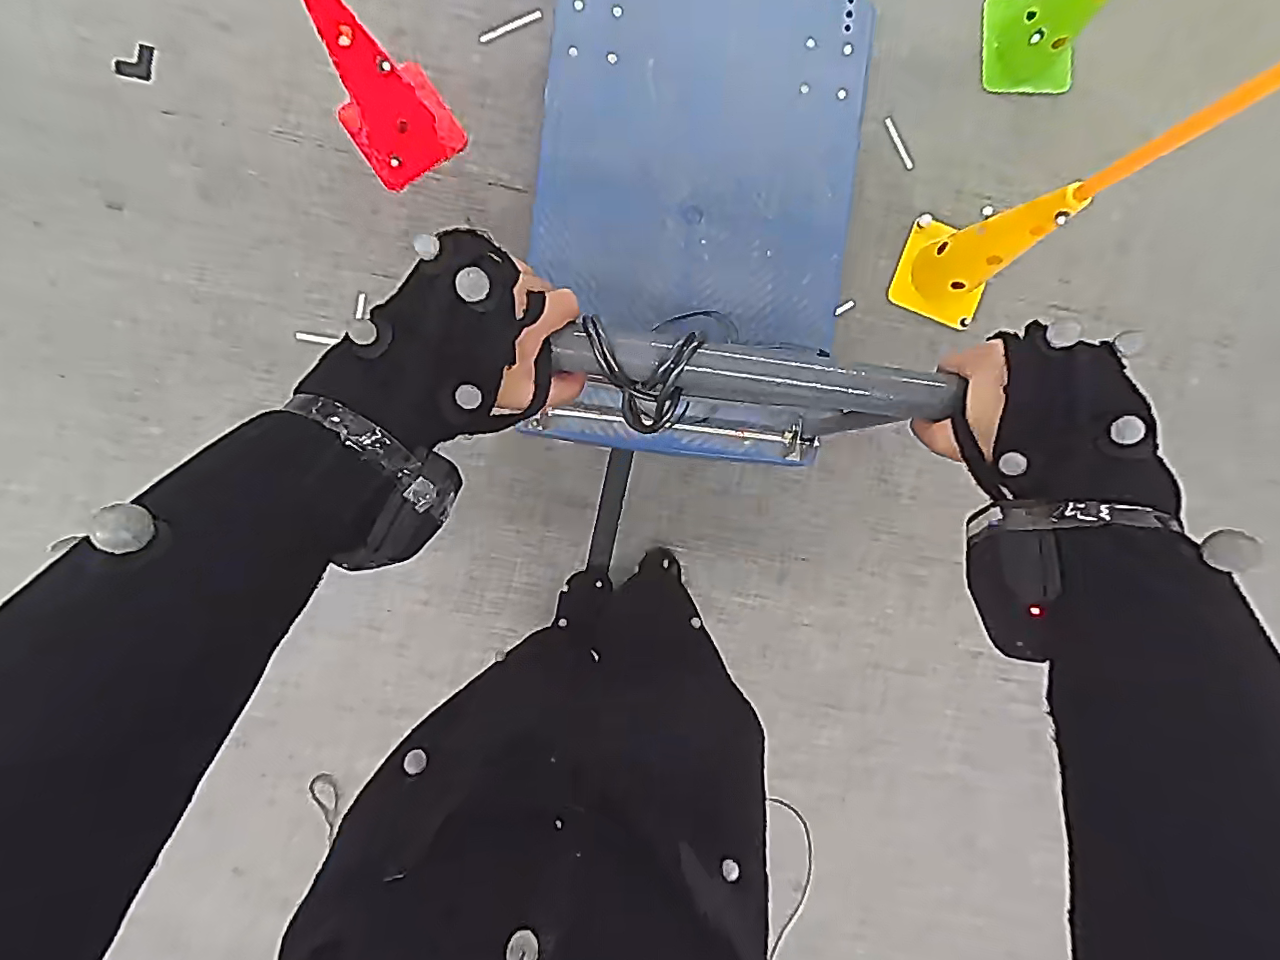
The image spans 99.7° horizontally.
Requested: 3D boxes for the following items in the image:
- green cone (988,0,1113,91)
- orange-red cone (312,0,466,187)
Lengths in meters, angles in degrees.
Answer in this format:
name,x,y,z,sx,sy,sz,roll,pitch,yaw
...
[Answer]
name,x,y,z,sx,sy,sz,roll,pitch,yaw
green cone,0.857,-0.935,0.998,0.200,0.368,0.202,-2,94,-3
orange-red cone,-0.473,-0.721,0.941,0.199,0.360,0.198,-33,94,-2
